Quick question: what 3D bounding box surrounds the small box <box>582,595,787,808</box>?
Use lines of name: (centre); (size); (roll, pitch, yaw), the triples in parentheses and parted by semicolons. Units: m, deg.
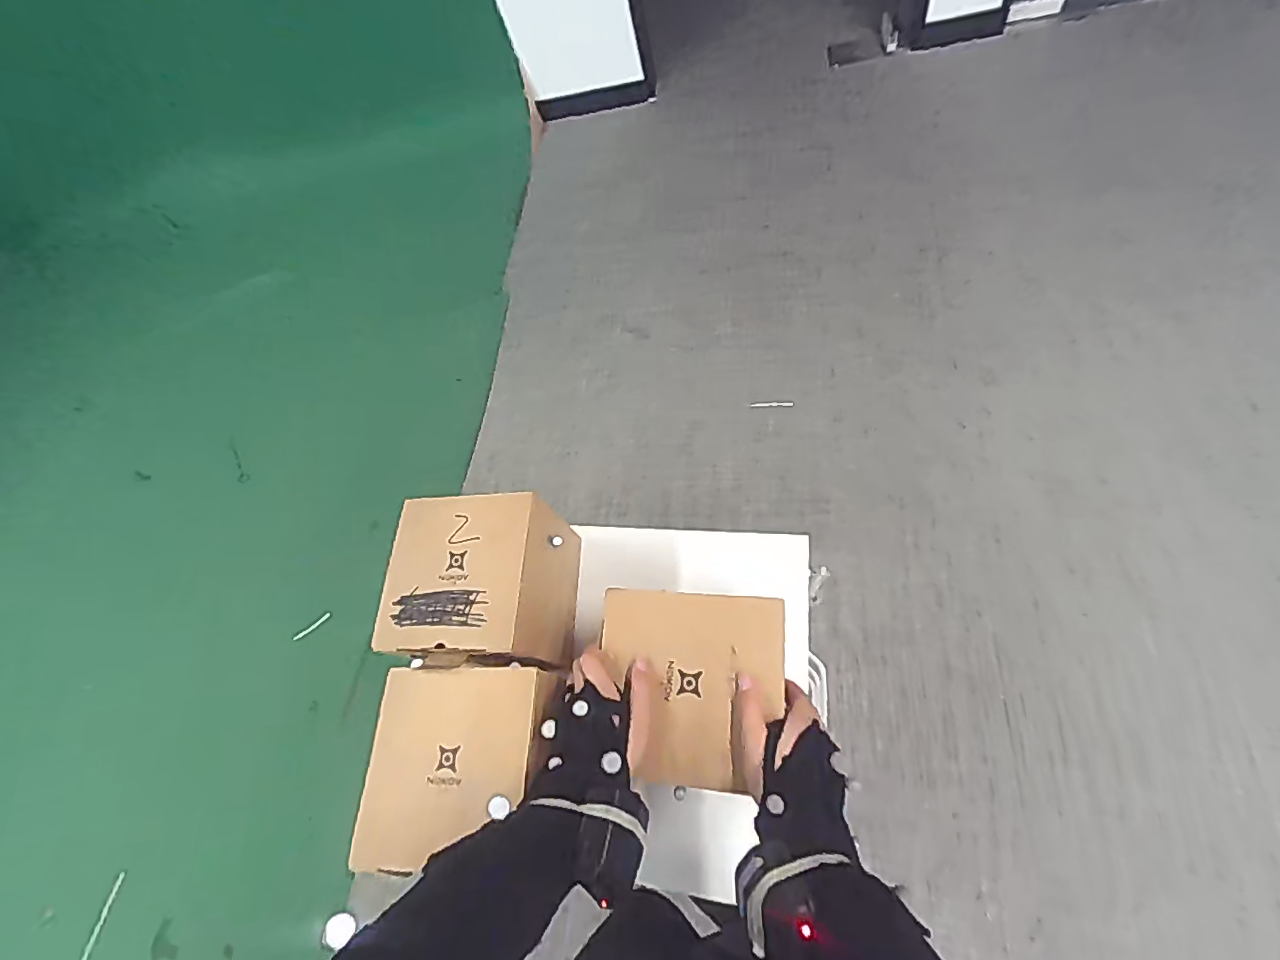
small box: (0.059, 0.221, 0.555); (0.179, 0.176, 0.168); (0, 67, 15)
